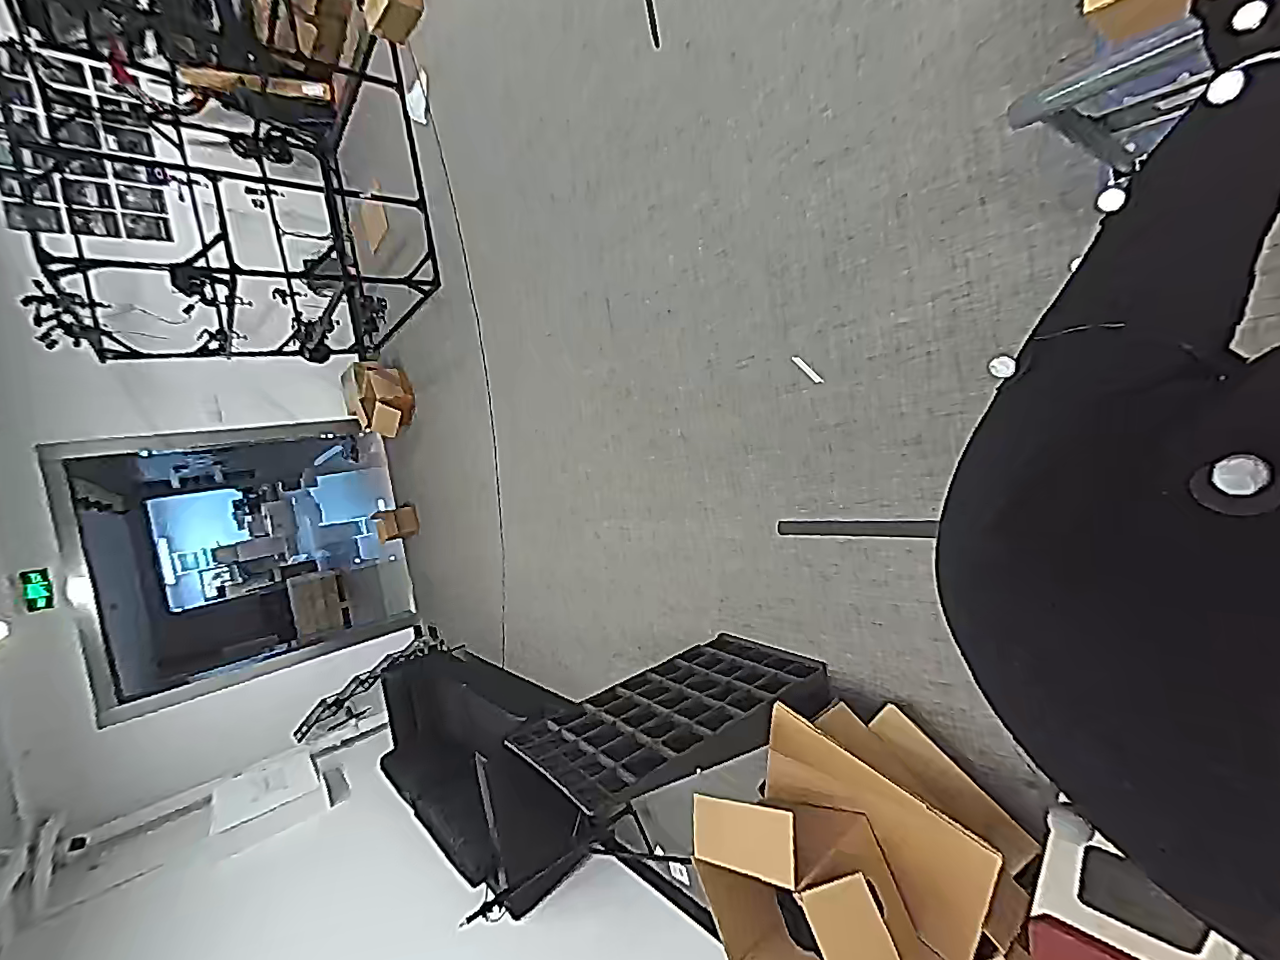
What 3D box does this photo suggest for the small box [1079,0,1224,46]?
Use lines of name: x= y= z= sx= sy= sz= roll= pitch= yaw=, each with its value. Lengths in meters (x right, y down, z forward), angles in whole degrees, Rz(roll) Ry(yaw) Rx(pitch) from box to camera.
small box: x=0.810 y=-0.822 z=0.833 sx=0.179 sy=0.176 sz=0.168 roll=6 pitch=103 yaw=49
